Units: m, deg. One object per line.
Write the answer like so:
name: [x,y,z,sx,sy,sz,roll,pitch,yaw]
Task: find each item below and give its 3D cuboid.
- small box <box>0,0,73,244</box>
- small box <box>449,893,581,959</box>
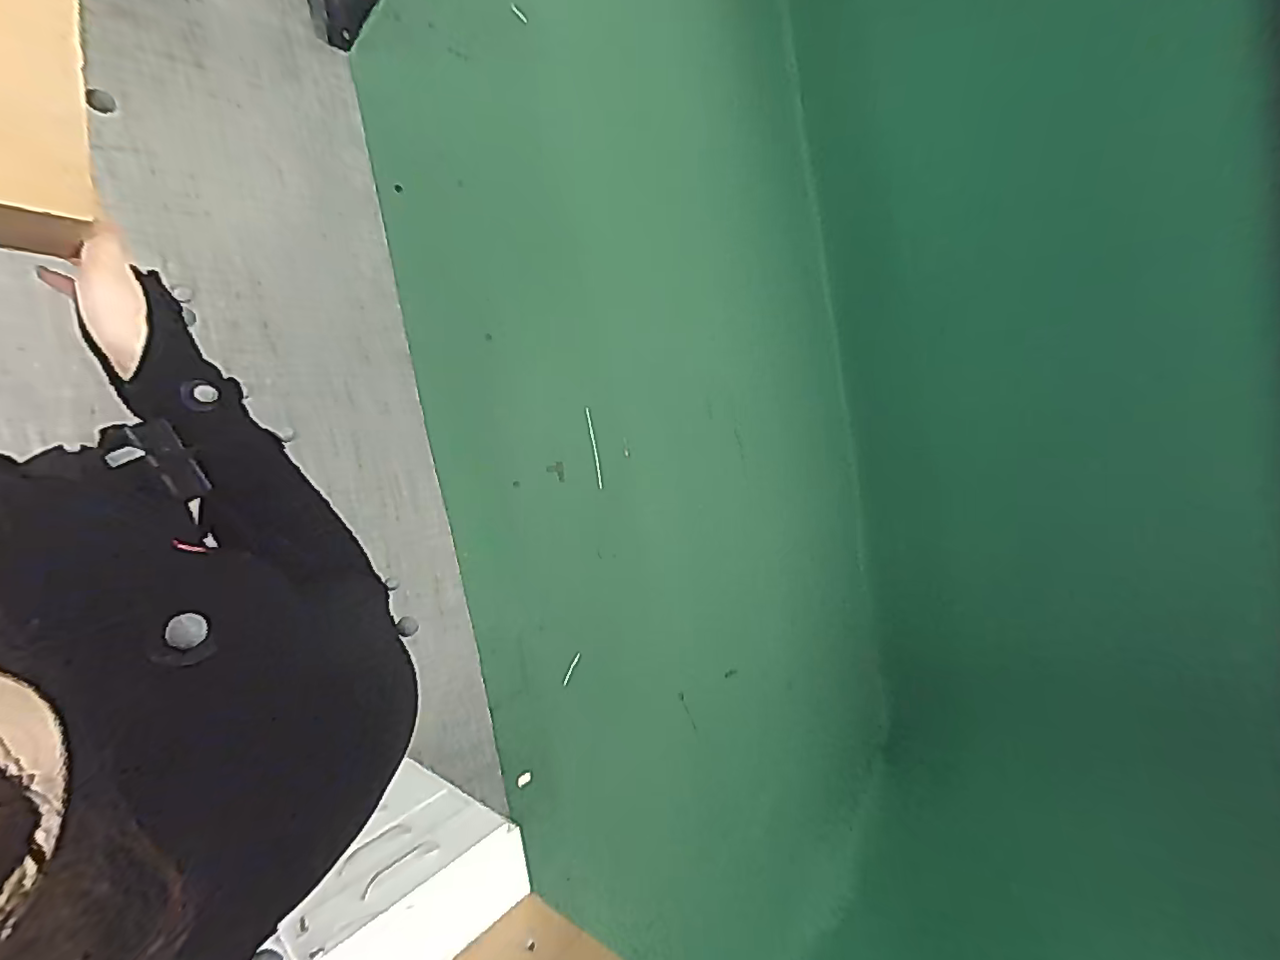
small box: [-0.407,-0.230,0.264,0.168,0.176,0.179,-8,104,-50]
small box: [-0.222,0.907,0.977,0.179,0.176,0.168,-14,97,-47]
